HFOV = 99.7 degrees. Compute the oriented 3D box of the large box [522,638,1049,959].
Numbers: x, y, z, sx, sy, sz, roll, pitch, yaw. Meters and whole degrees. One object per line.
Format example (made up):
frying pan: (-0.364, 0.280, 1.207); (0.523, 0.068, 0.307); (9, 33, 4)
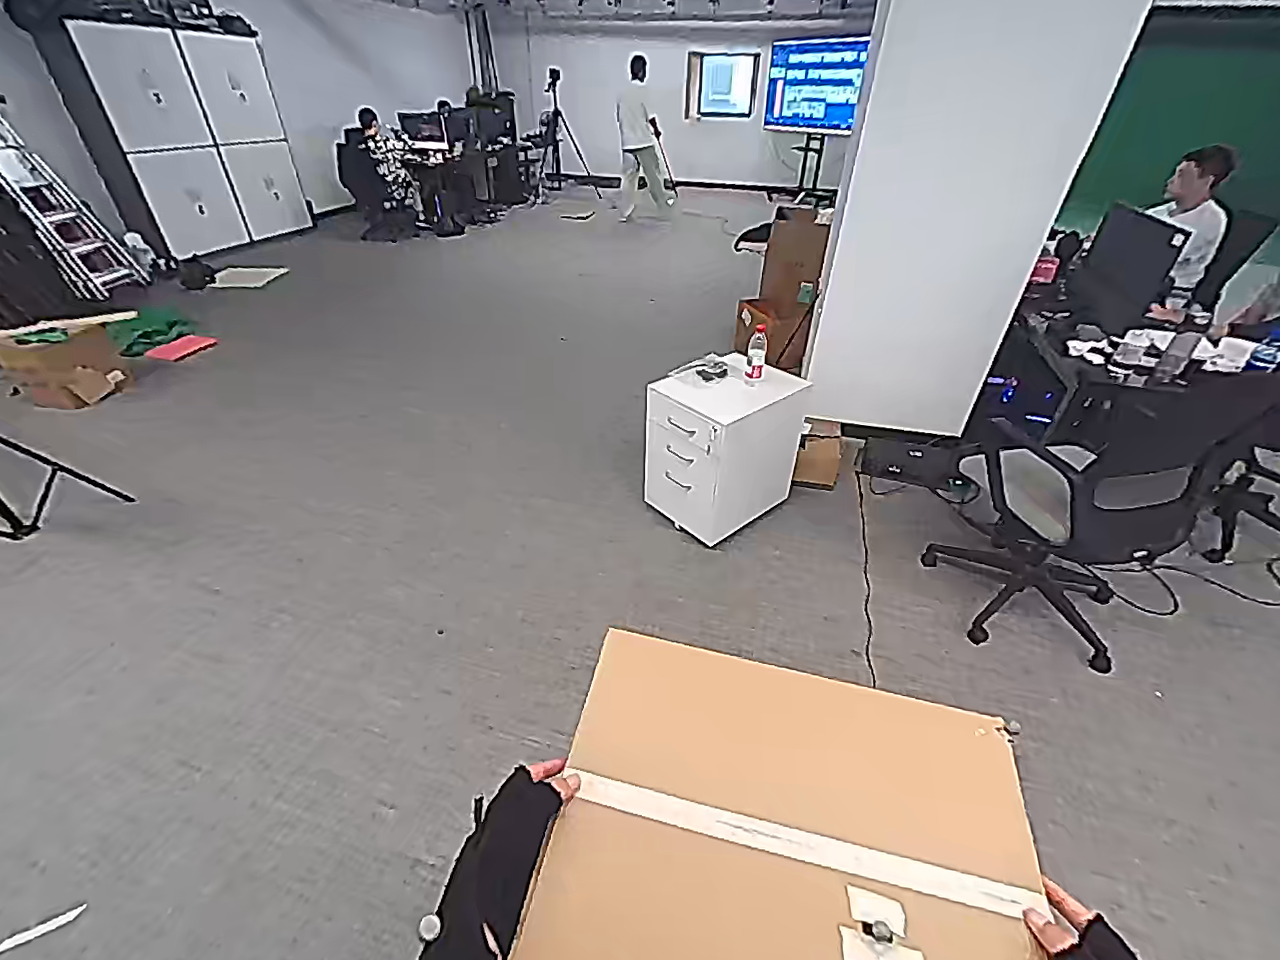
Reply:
large box: (0.122, 0.417, 0.571); (0.408, 0.320, 0.320); (11, 46, 8)
